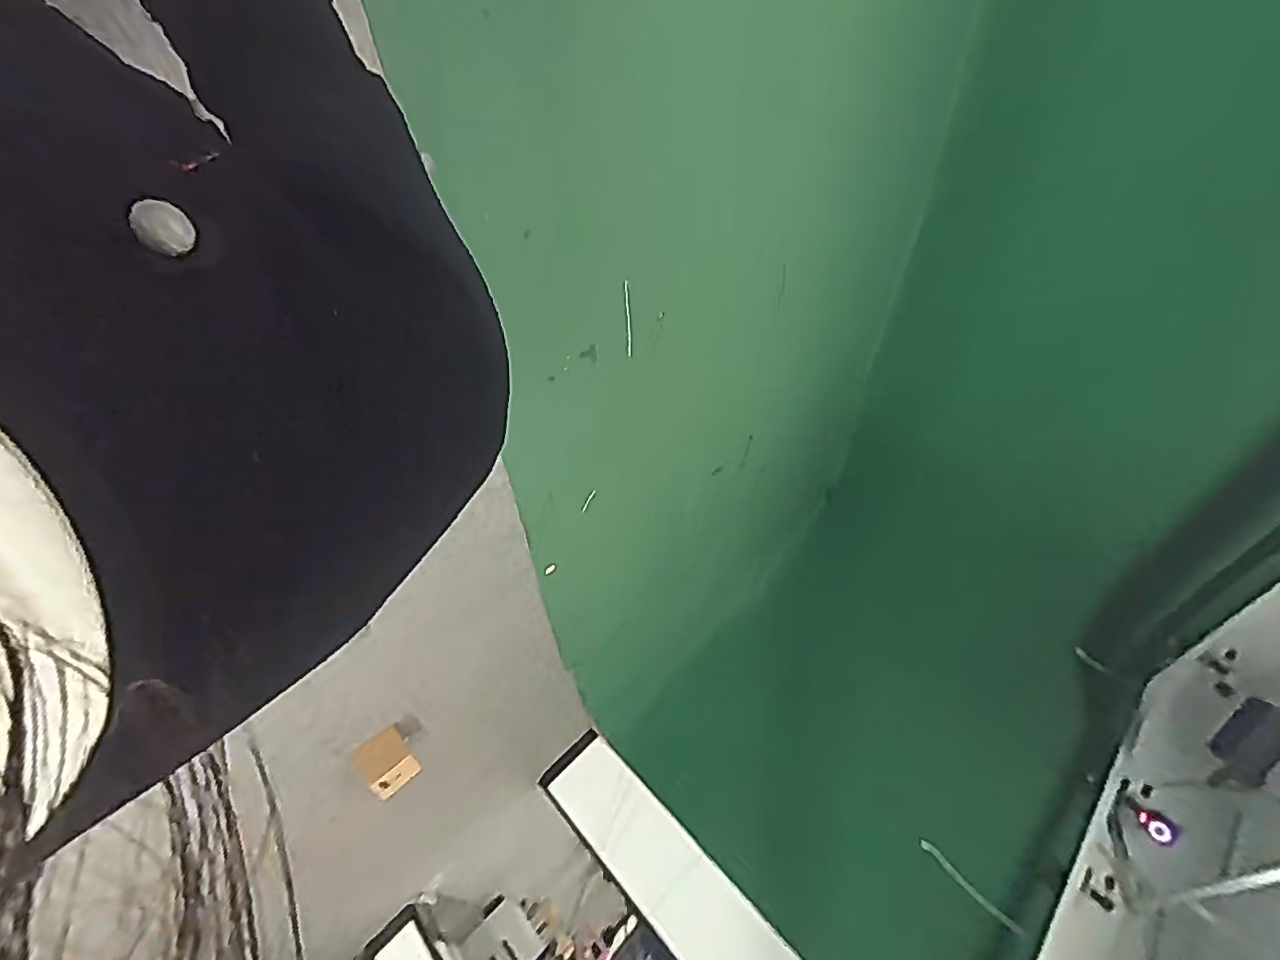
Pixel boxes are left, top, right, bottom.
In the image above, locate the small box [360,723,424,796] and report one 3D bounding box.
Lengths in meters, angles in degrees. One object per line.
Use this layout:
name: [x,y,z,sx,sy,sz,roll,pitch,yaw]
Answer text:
small box: [-1.027,1.147,2.226,0.179,0.176,0.168,-32,143,-32]
